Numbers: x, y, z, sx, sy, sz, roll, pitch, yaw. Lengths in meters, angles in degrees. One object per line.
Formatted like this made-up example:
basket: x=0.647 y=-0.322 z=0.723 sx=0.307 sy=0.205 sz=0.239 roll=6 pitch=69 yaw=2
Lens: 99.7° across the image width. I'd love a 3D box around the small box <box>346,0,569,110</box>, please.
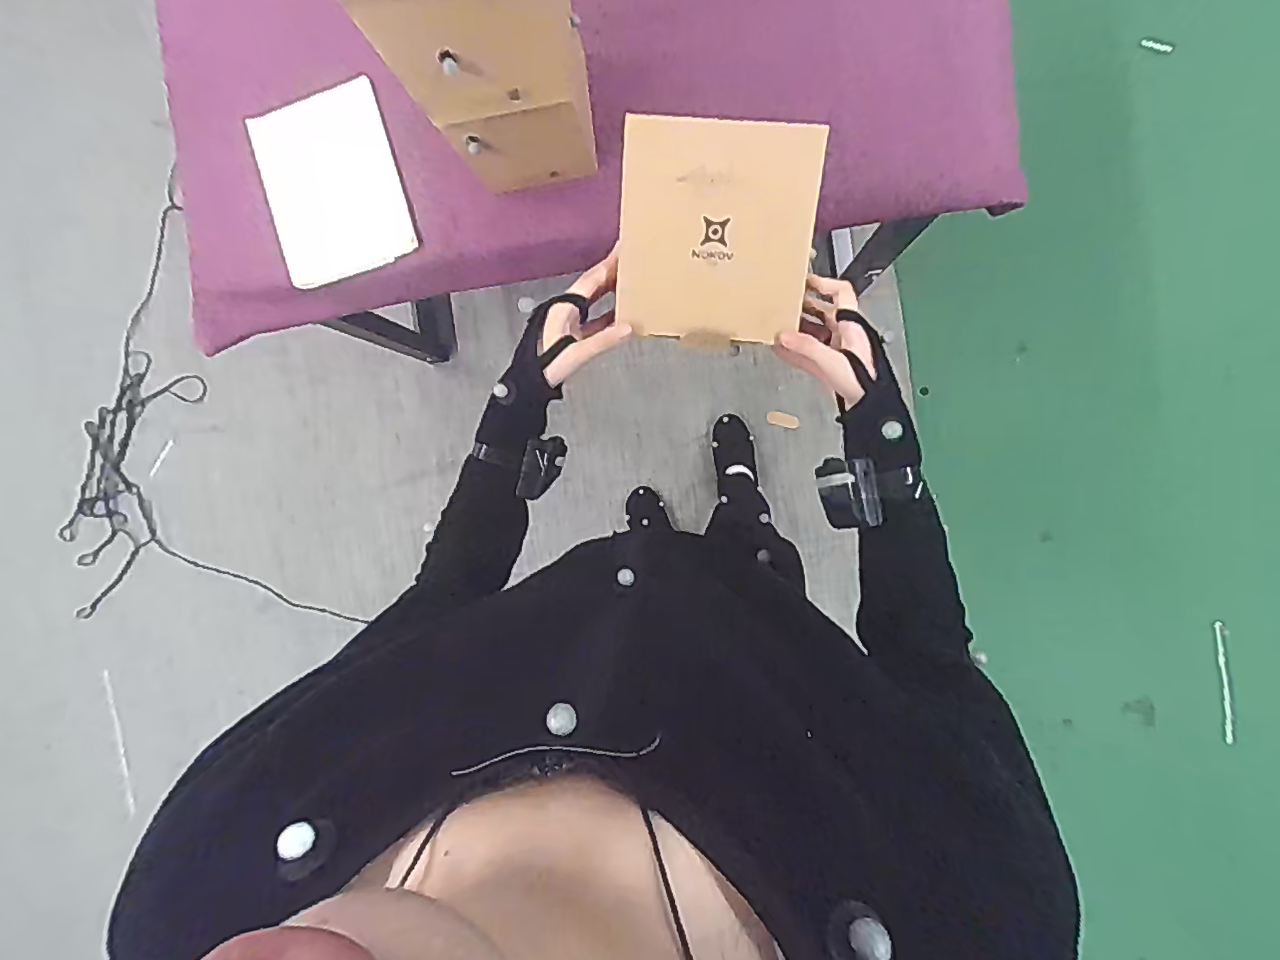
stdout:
small box: x=-0.174 y=-0.503 z=0.534 sx=0.168 sy=0.176 sz=0.179 roll=-6 pitch=90 yaw=6
